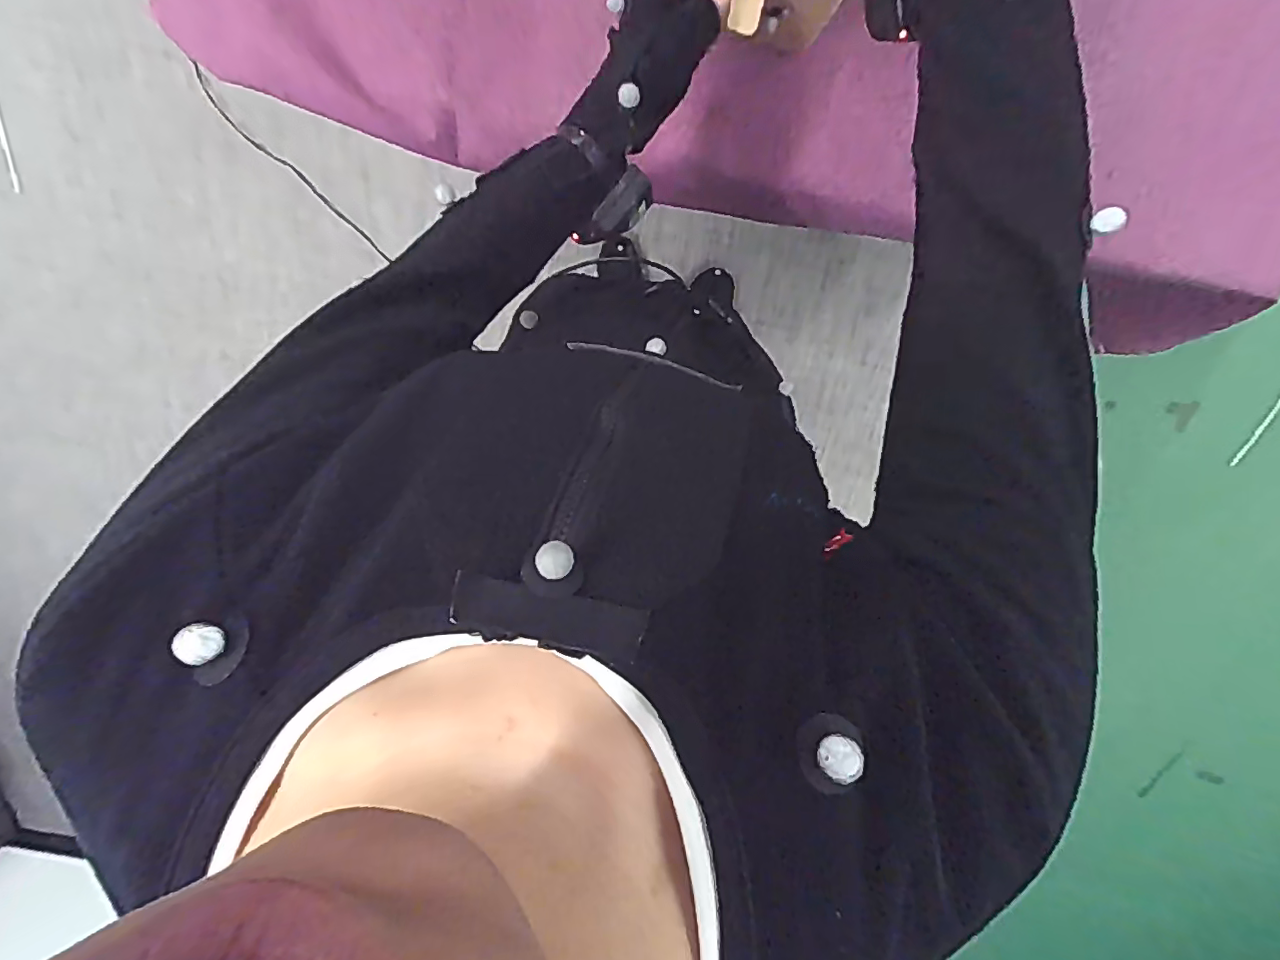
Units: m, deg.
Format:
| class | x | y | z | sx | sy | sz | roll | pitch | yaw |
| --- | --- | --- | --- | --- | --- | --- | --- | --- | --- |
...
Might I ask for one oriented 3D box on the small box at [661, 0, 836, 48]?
| class | x | y | z | sx | sy | sz | roll | pitch | yaw |
| --- | --- | --- | --- | --- | --- | --- | --- | --- | --- |
| small box | 0.102 | -0.485 | 0.429 | 0.168 | 0.176 | 0.179 | 14 | 114 | -2 |
